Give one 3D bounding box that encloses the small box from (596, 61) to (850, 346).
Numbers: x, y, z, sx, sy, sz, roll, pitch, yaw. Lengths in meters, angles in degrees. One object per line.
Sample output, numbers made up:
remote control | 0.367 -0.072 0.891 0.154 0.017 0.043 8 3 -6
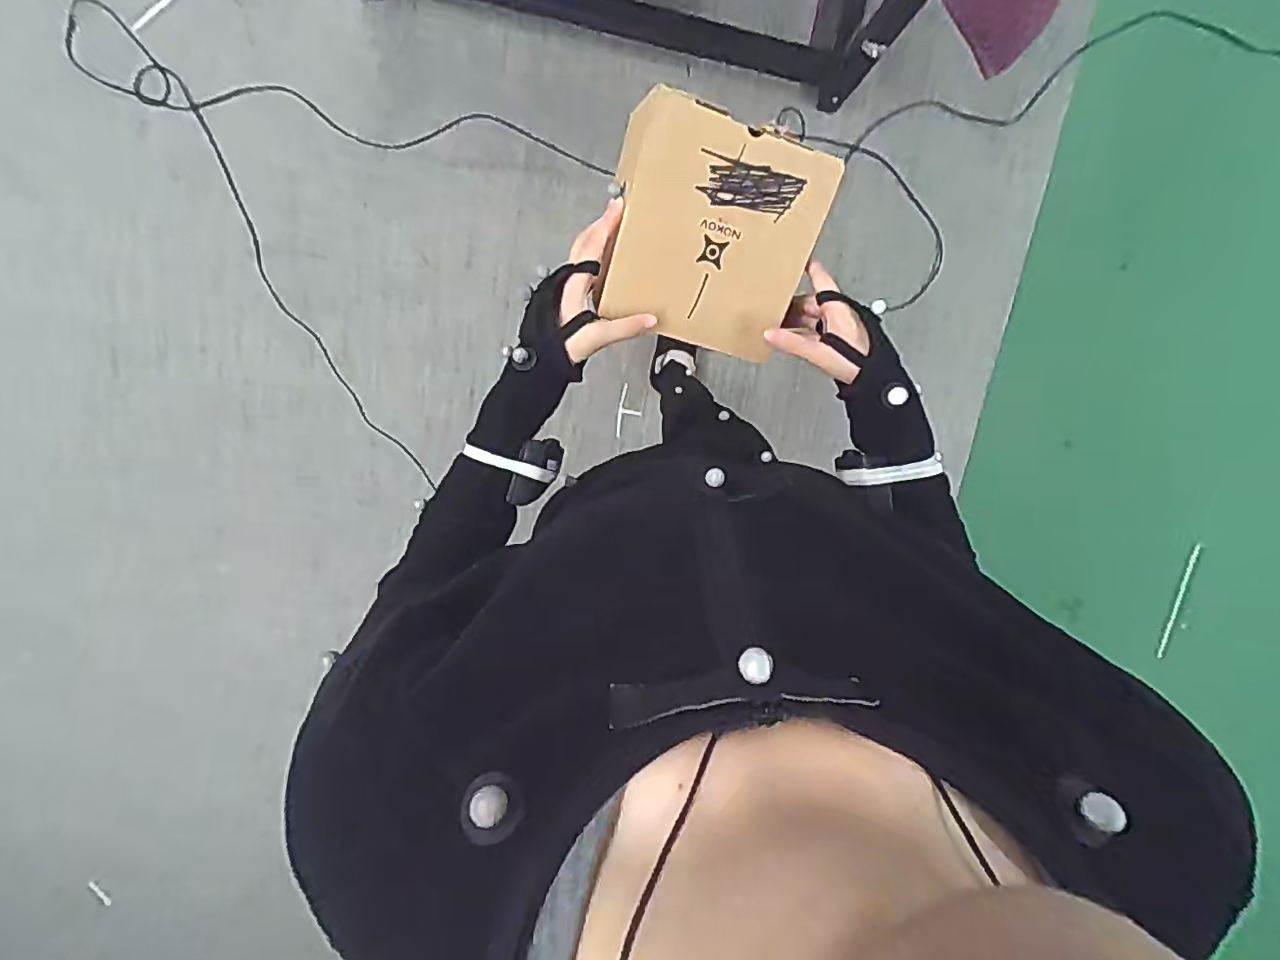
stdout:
small box | 0.058 -0.252 0.518 0.168 0.176 0.179 12 115 -14
